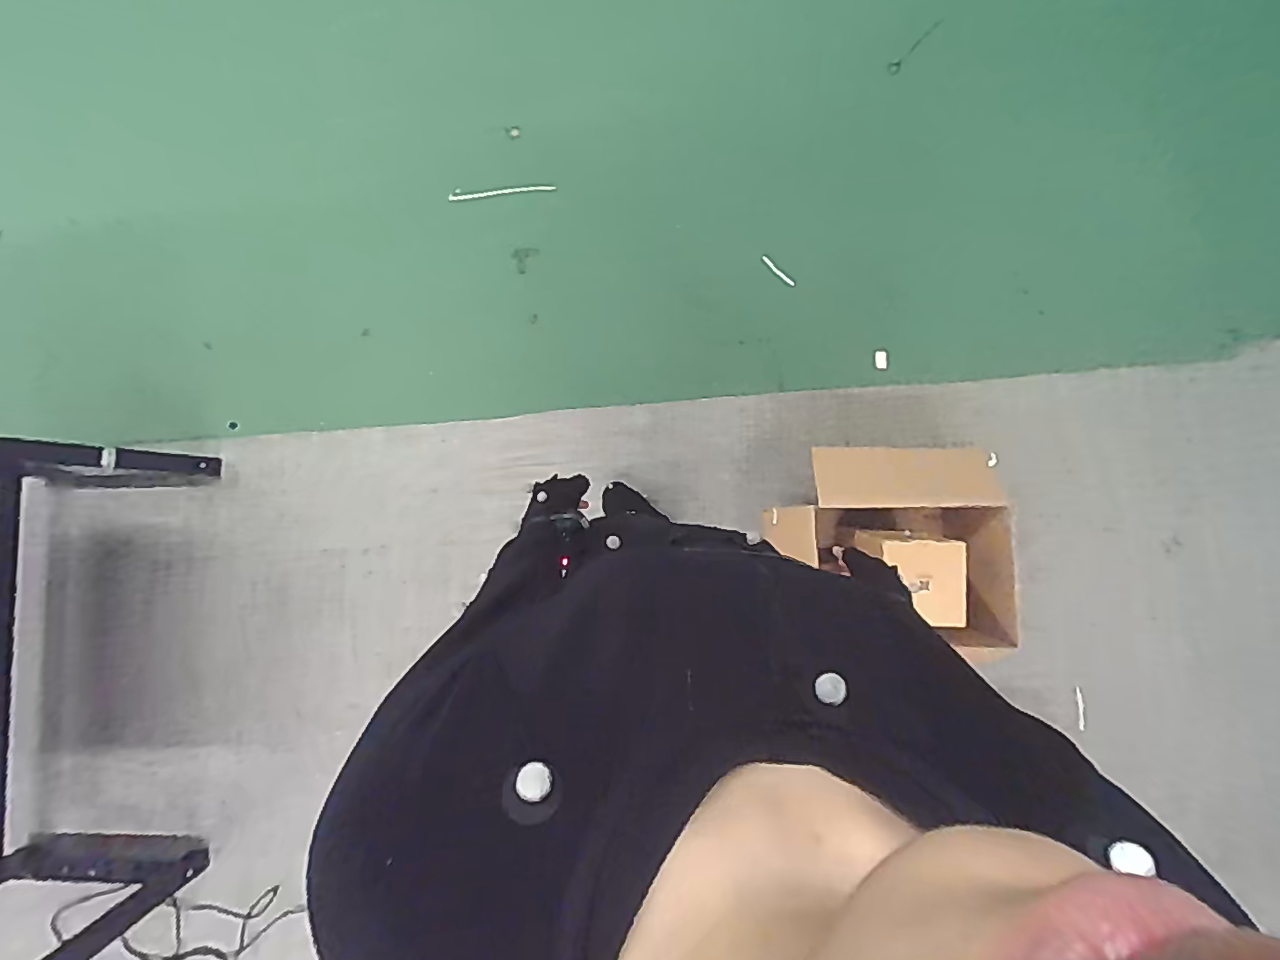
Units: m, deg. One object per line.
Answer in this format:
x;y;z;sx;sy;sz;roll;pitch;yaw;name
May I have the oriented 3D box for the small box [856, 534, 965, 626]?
0.585;0.212;1.184;0.168;0.176;0.179;0;87;3;small box
